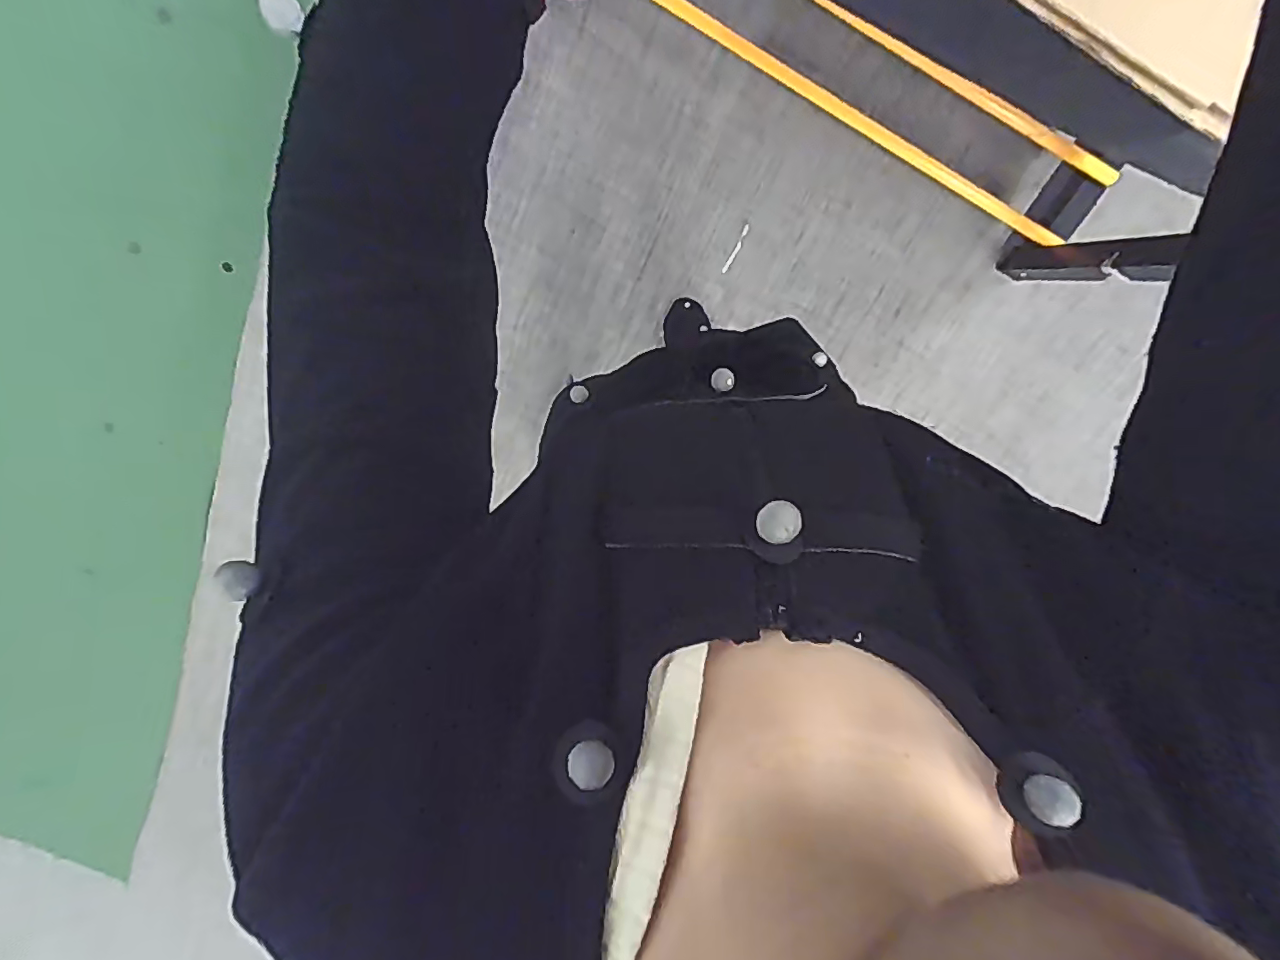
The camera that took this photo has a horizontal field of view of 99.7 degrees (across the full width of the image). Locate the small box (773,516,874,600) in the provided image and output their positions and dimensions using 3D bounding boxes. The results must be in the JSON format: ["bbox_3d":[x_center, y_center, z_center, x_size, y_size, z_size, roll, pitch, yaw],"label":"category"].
[{"bbox_3d":[0.457,0.216,1.382,0.168,0.176,0.179,21,110,-4],"label":"small box"}]

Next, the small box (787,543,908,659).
[{"bbox_3d":[0.458,0.266,1.226,0.179,0.176,0.168,21,109,-4],"label":"small box"}]
